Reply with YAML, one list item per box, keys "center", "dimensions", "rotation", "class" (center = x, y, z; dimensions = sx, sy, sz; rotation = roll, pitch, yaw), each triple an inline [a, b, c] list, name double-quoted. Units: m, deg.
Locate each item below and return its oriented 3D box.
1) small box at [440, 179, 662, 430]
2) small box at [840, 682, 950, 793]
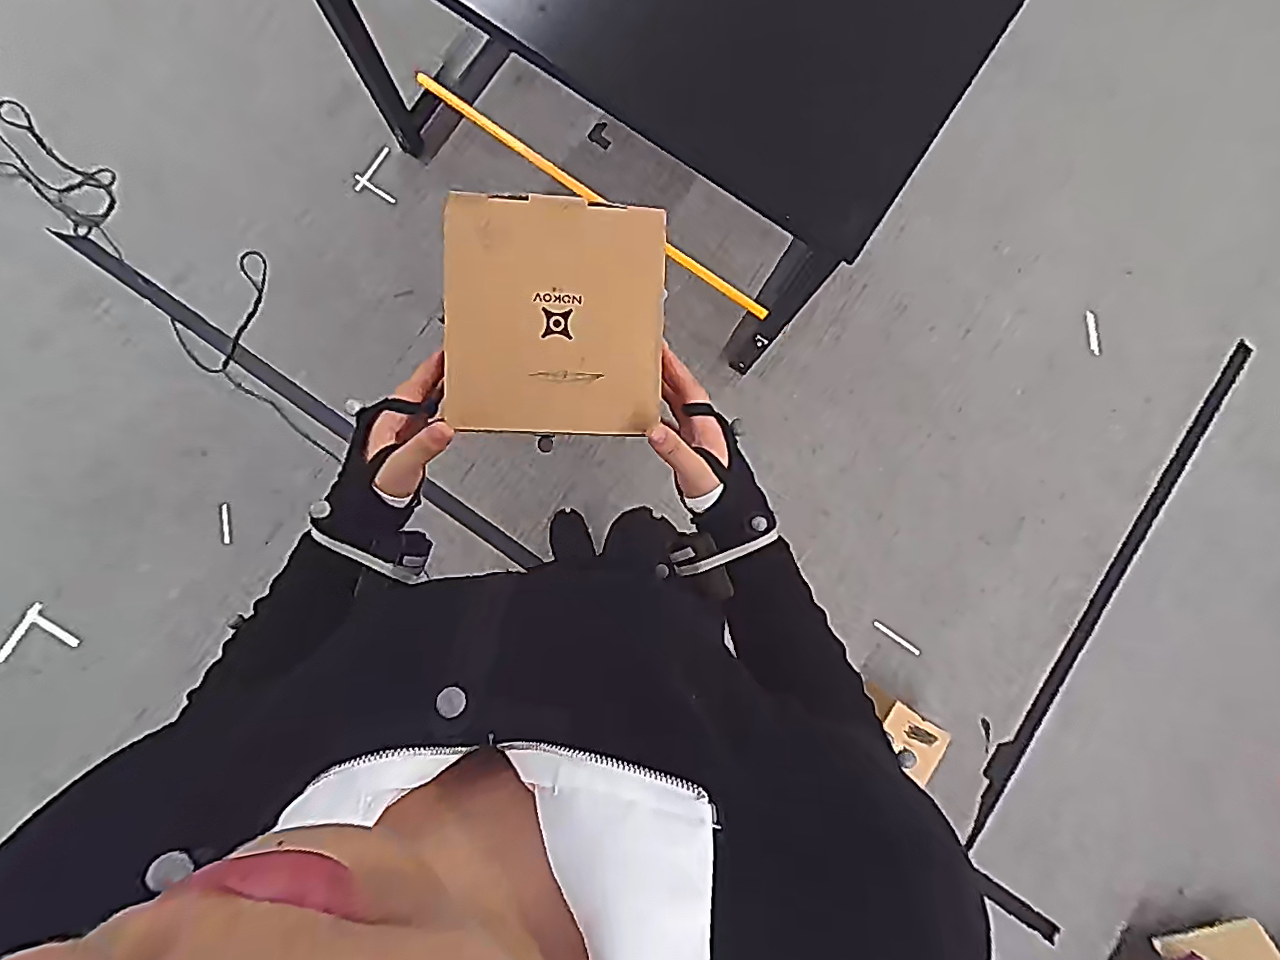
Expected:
- center: [-0.077, -0.137, 0.488]
  dimensions: [0.168, 0.176, 0.179]
  rotation: [1, 95, -7]
  class: "small box"
- center: [0.657, 0.661, 1.416]
  dimensions: [0.168, 0.176, 0.179]
  rotation: [32, 86, 0]
  class: "small box"
